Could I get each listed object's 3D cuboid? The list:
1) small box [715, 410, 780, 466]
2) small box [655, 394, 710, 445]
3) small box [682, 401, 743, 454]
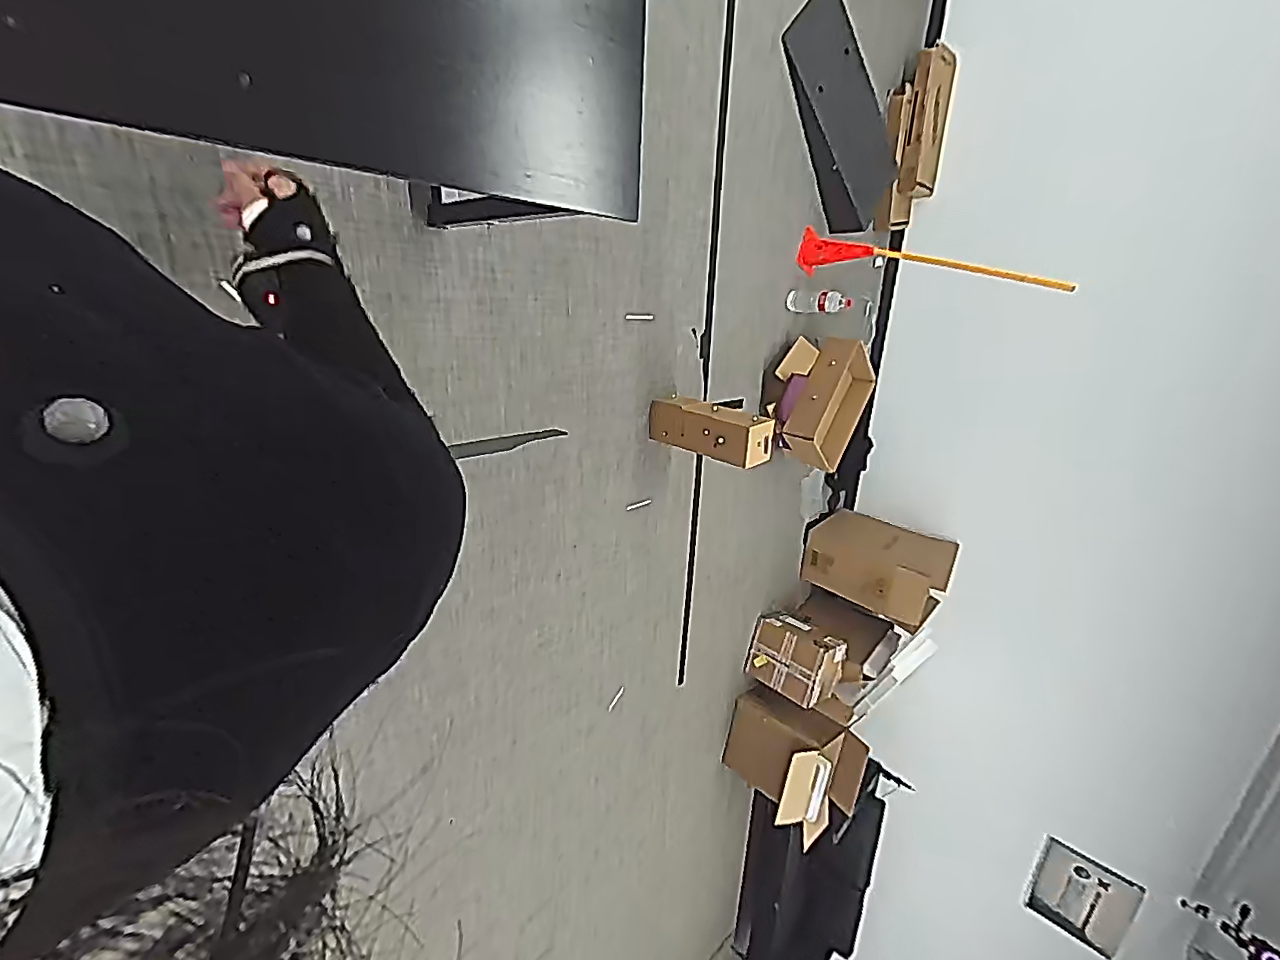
[{"bbox_3d":[0.411,-0.168,2.081,0.179,0.176,0.168,-19,119,-42],"label":"small box"},{"bbox_3d":[0.177,-0.261,2.293,0.168,0.176,0.179,-18,117,-44],"label":"small box"},{"bbox_3d":[0.293,-0.216,2.186,0.179,0.176,0.168,-20,119,-43],"label":"small box"}]
